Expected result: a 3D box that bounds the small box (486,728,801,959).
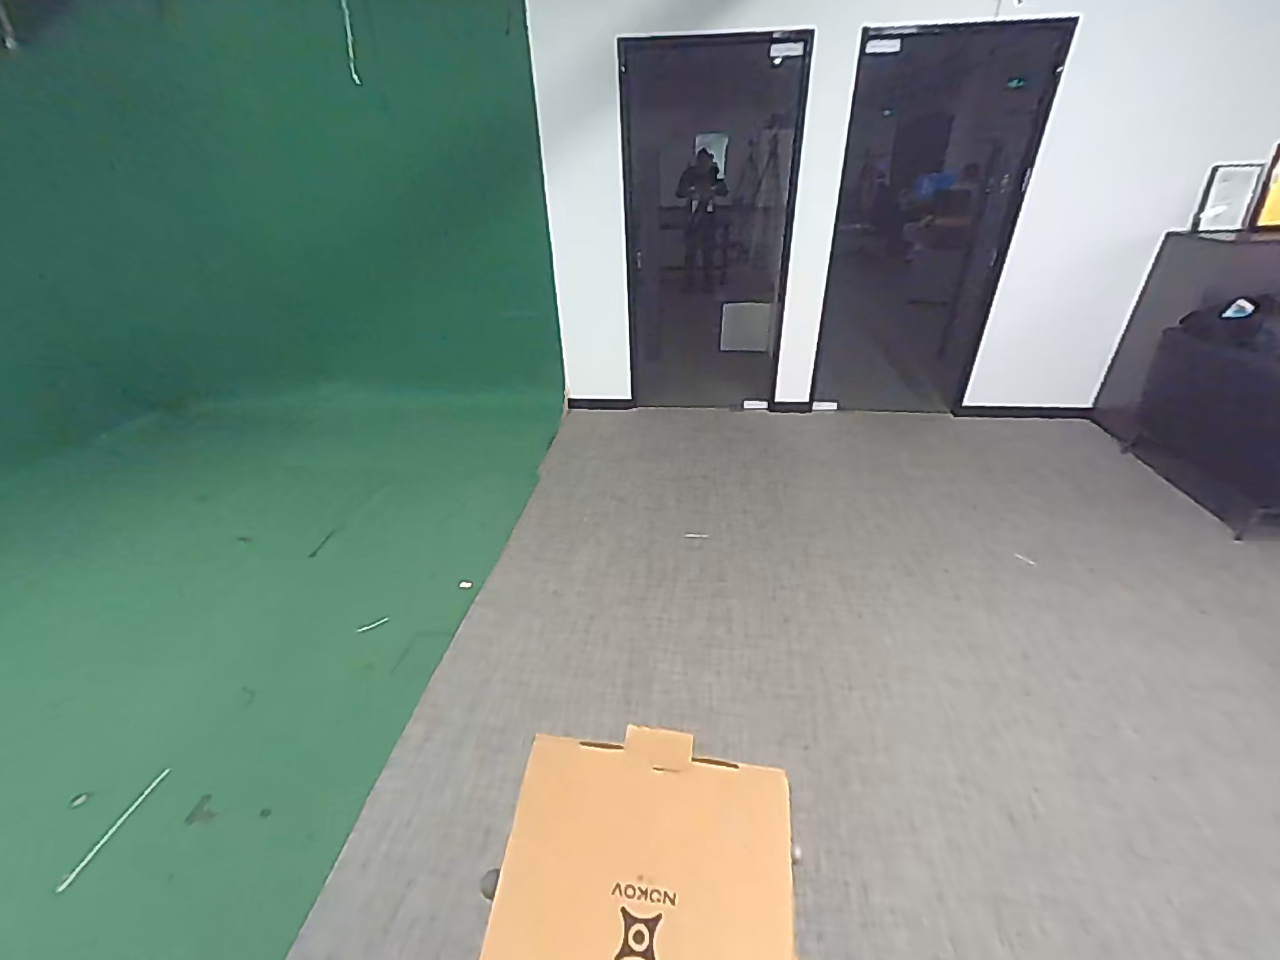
[{"bbox_3d":[0.005,0.289,0.353,0.168,0.176,0.179,6,49,4],"label":"small box"}]
